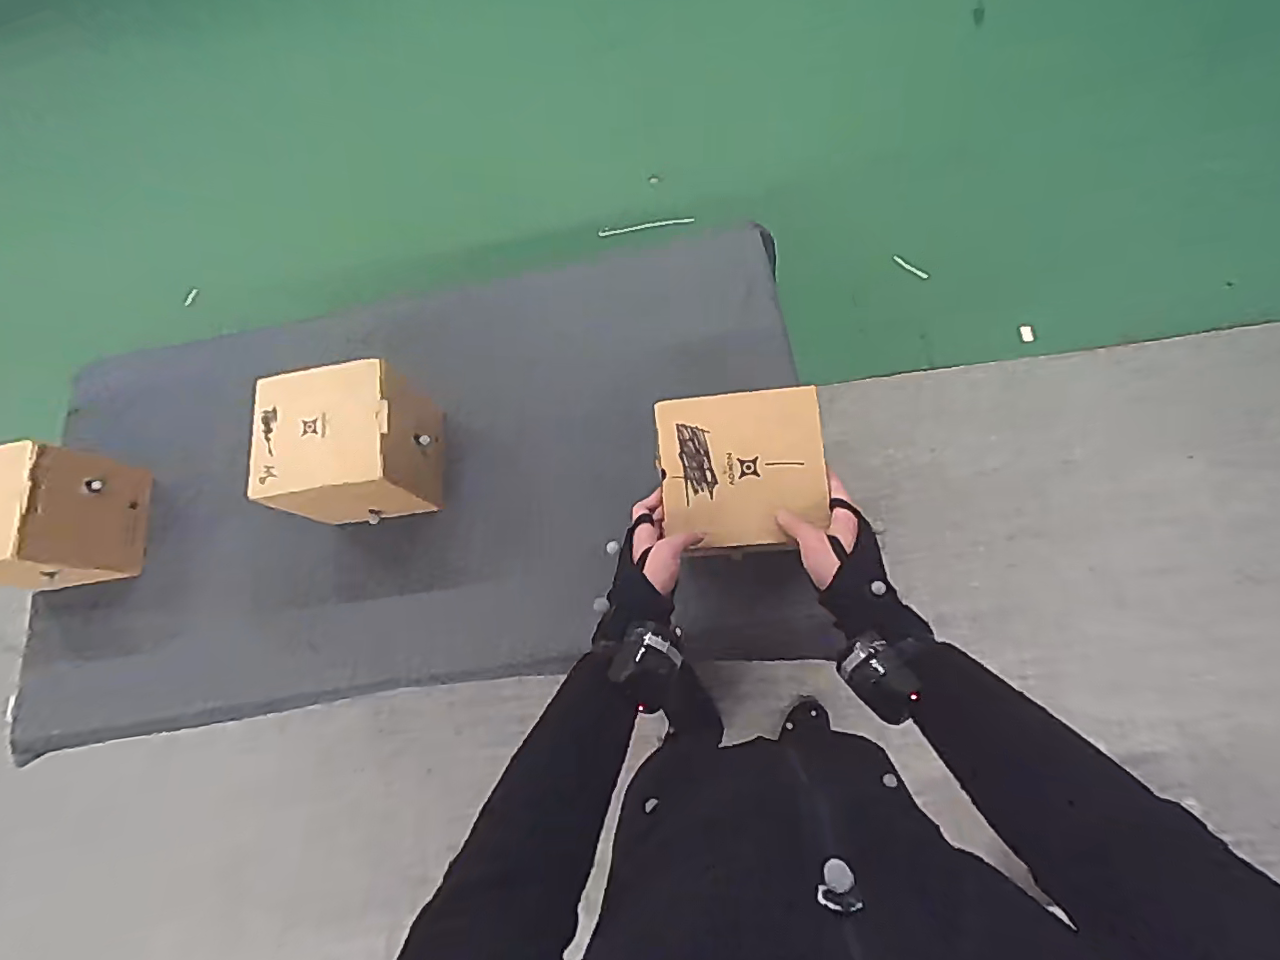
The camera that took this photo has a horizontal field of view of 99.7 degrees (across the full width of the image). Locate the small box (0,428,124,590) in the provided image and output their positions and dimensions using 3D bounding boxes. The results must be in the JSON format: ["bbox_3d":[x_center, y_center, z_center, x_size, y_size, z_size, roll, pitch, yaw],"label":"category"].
[{"bbox_3d":[-0.857,0.047,0.725,0.179,0.176,0.168,-10,71,2],"label":"small box"}]

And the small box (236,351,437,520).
[{"bbox_3d":[-0.386,-0.050,0.723,0.179,0.176,0.168,-7,72,1],"label":"small box"}]

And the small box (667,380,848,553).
[{"bbox_3d":[0.127,-0.005,0.636,0.179,0.176,0.168,-4,78,5],"label":"small box"}]
